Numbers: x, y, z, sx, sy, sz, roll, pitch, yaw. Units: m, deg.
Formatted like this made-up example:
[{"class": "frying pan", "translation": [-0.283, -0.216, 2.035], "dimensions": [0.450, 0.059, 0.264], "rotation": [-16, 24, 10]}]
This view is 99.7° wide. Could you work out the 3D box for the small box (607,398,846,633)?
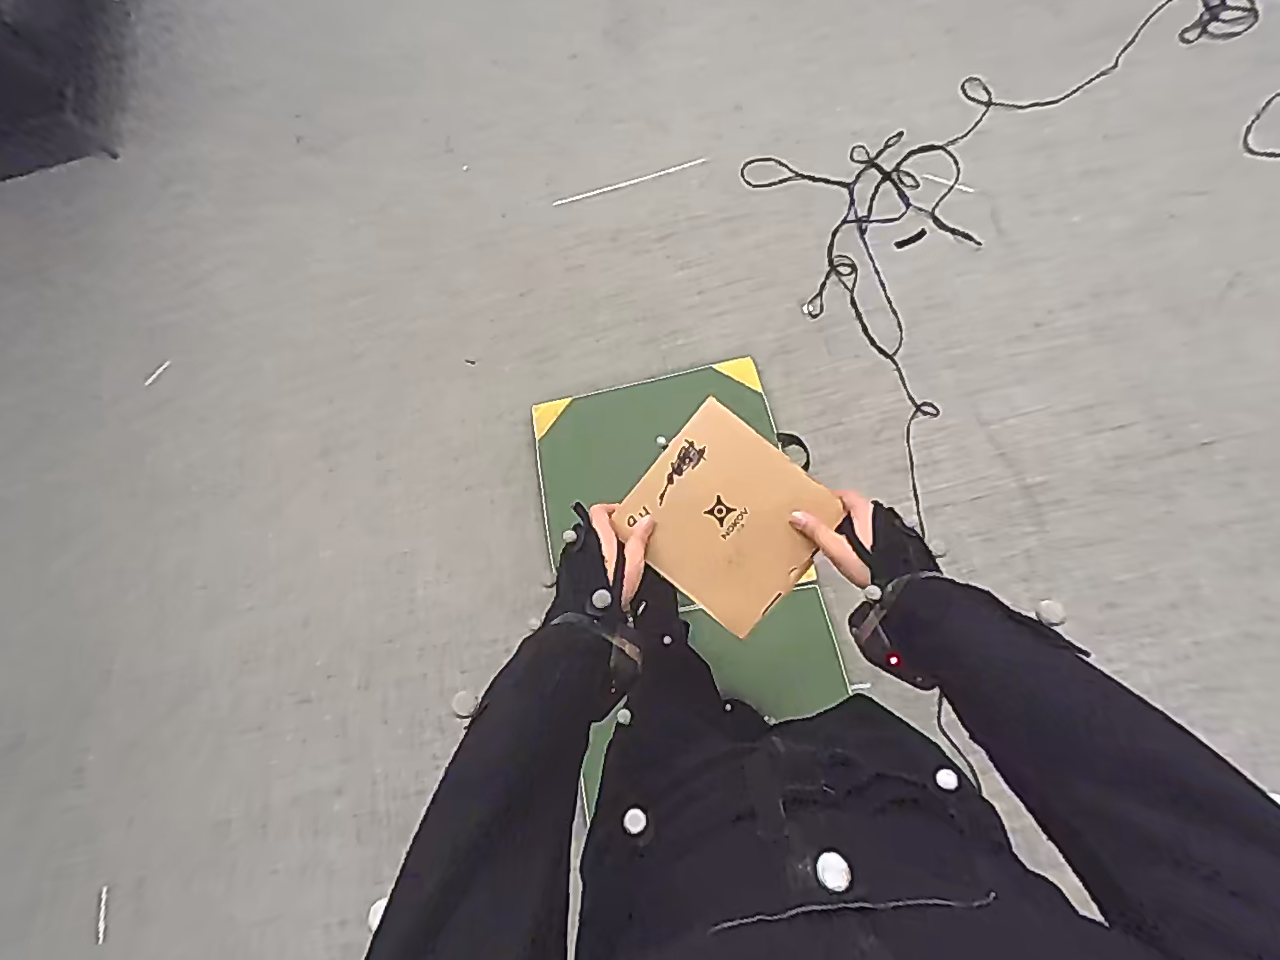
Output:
[{"class": "small box", "translation": [0.088, 0.035, 0.605], "dimensions": [0.179, 0.176, 0.168], "rotation": [40, 90, 4]}]
